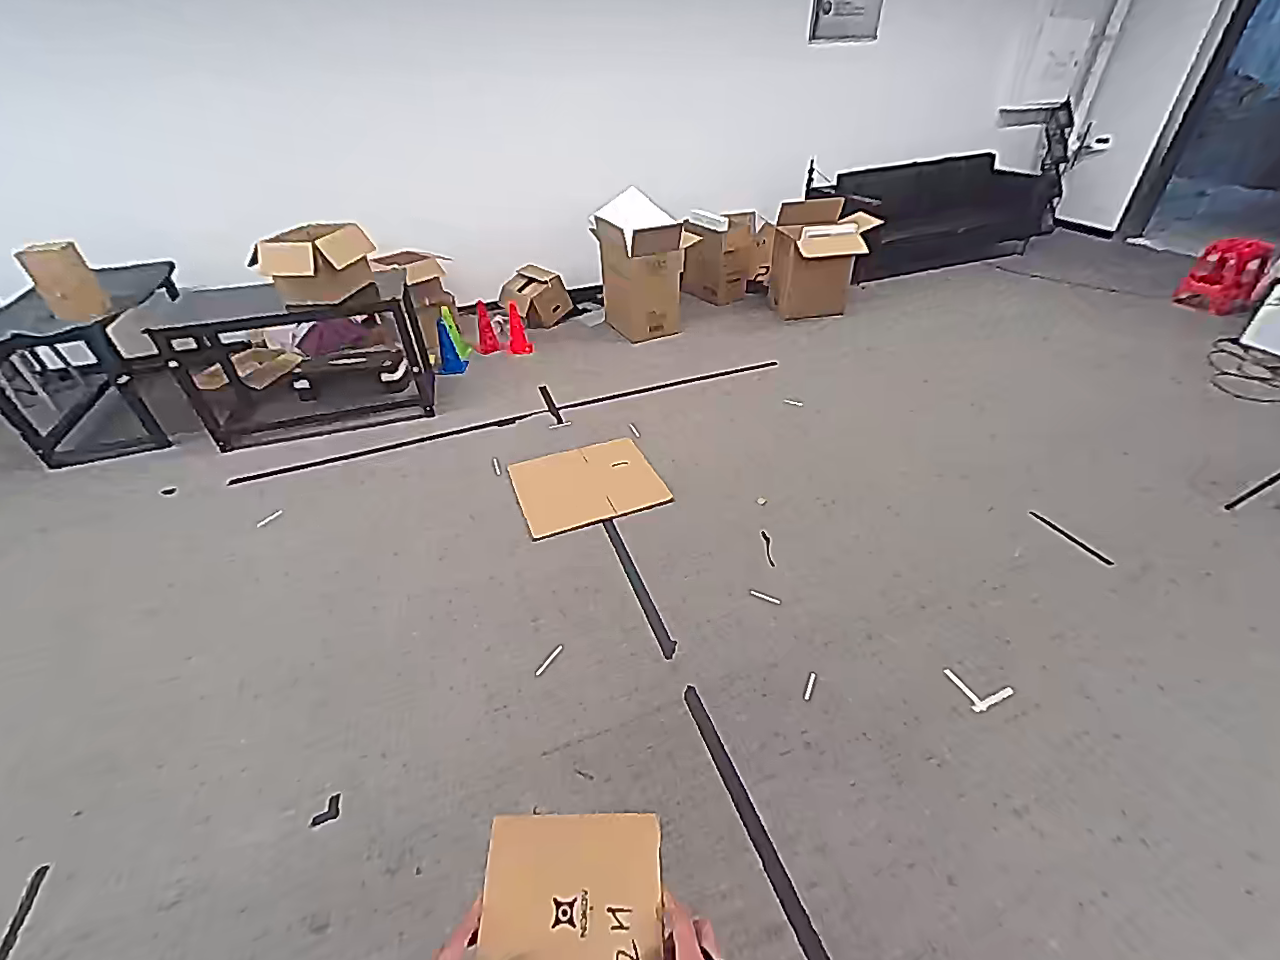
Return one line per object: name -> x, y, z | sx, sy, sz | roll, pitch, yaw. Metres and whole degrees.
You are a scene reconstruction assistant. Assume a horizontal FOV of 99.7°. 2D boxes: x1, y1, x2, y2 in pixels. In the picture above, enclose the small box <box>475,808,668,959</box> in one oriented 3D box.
small box -> -0.068, 0.457, 0.570 | 0.179, 0.176, 0.168 | 2, 48, -5
